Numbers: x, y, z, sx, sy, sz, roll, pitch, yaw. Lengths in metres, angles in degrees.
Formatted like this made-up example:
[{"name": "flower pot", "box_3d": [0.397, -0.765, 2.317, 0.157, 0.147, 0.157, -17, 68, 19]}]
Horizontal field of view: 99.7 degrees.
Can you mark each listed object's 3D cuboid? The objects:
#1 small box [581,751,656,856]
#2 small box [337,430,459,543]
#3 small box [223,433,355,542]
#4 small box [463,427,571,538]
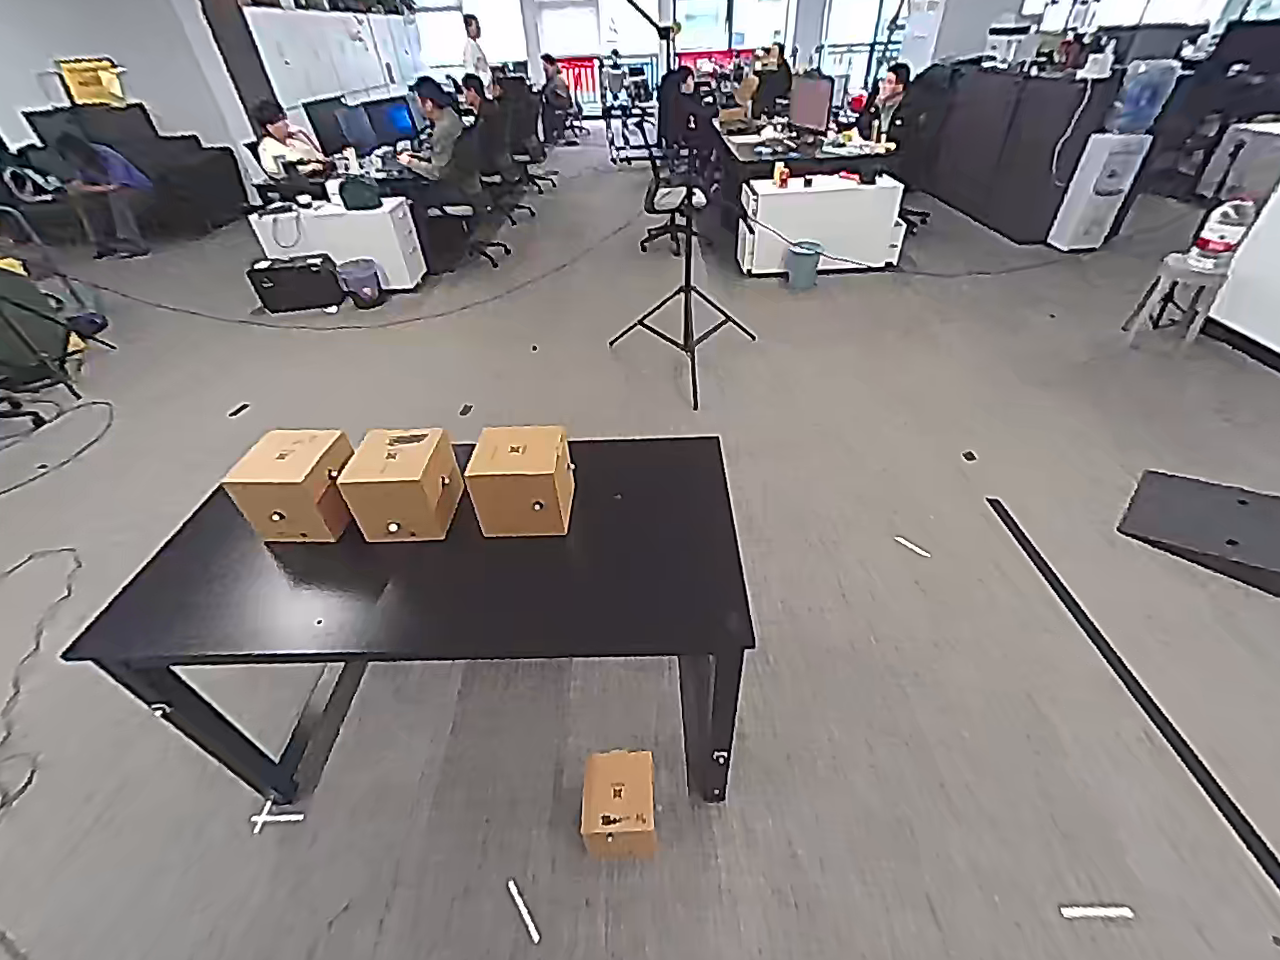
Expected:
[{"name": "small box", "box_3d": [-0.048, 0.787, 1.317, 0.168, 0.176, 0.179, -3, 39, 2]}, {"name": "small box", "box_3d": [-0.493, 0.013, 1.138, 0.168, 0.176, 0.179, -2, 41, 1]}, {"name": "small box", "box_3d": [-0.717, 0.017, 1.150, 0.168, 0.176, 0.179, 1, 40, 3]}, {"name": "small box", "box_3d": [-0.245, 0.006, 1.133, 0.179, 0.176, 0.168, -3, 38, 2]}]
